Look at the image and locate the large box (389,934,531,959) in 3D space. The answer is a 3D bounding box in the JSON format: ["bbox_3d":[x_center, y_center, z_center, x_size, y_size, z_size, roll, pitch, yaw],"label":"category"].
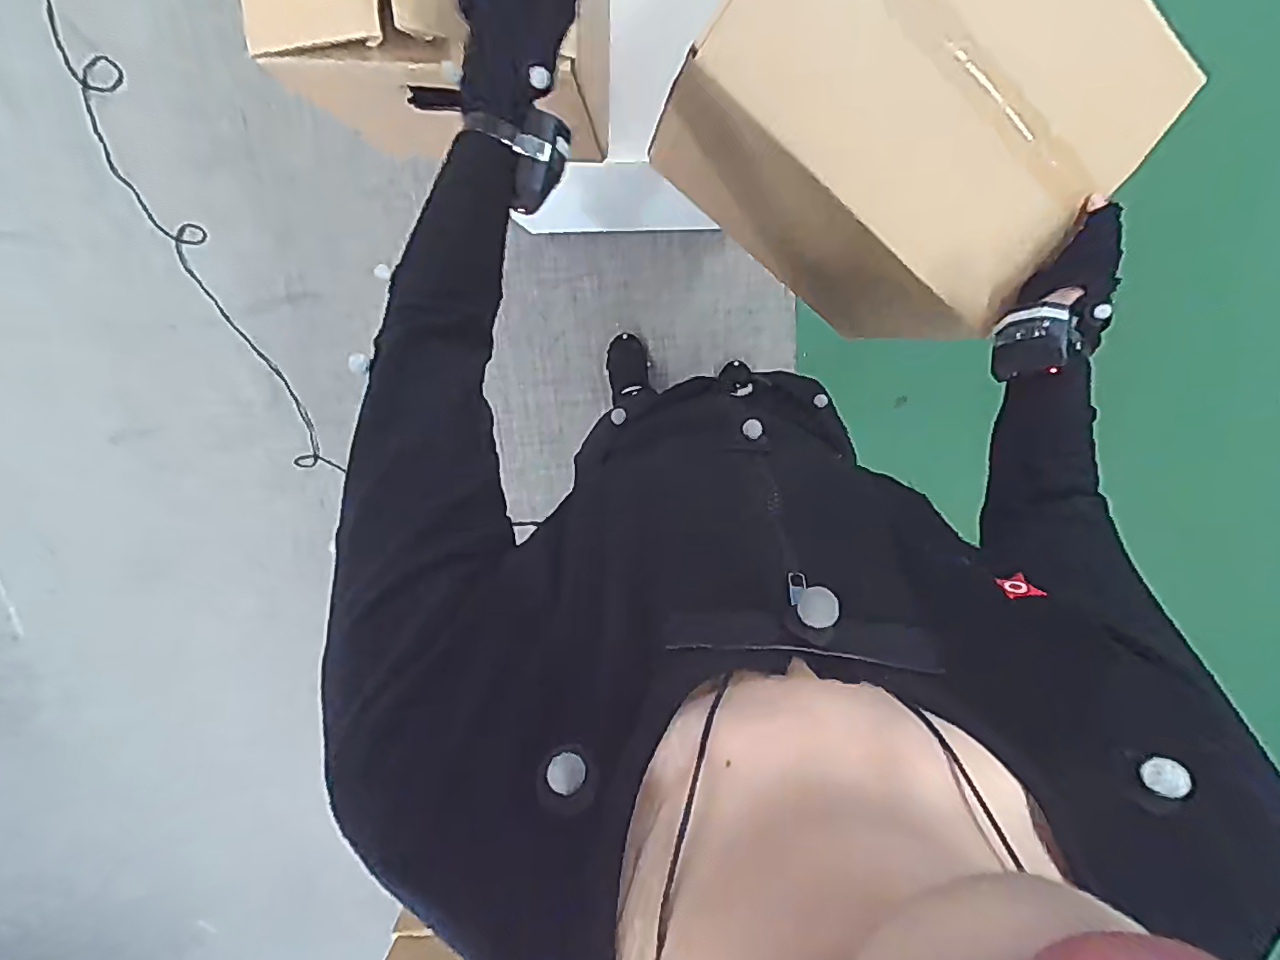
[{"bbox_3d":[-0.526,1.536,1.498,0.408,0.320,0.320,-4,100,4],"label":"large box"}]
